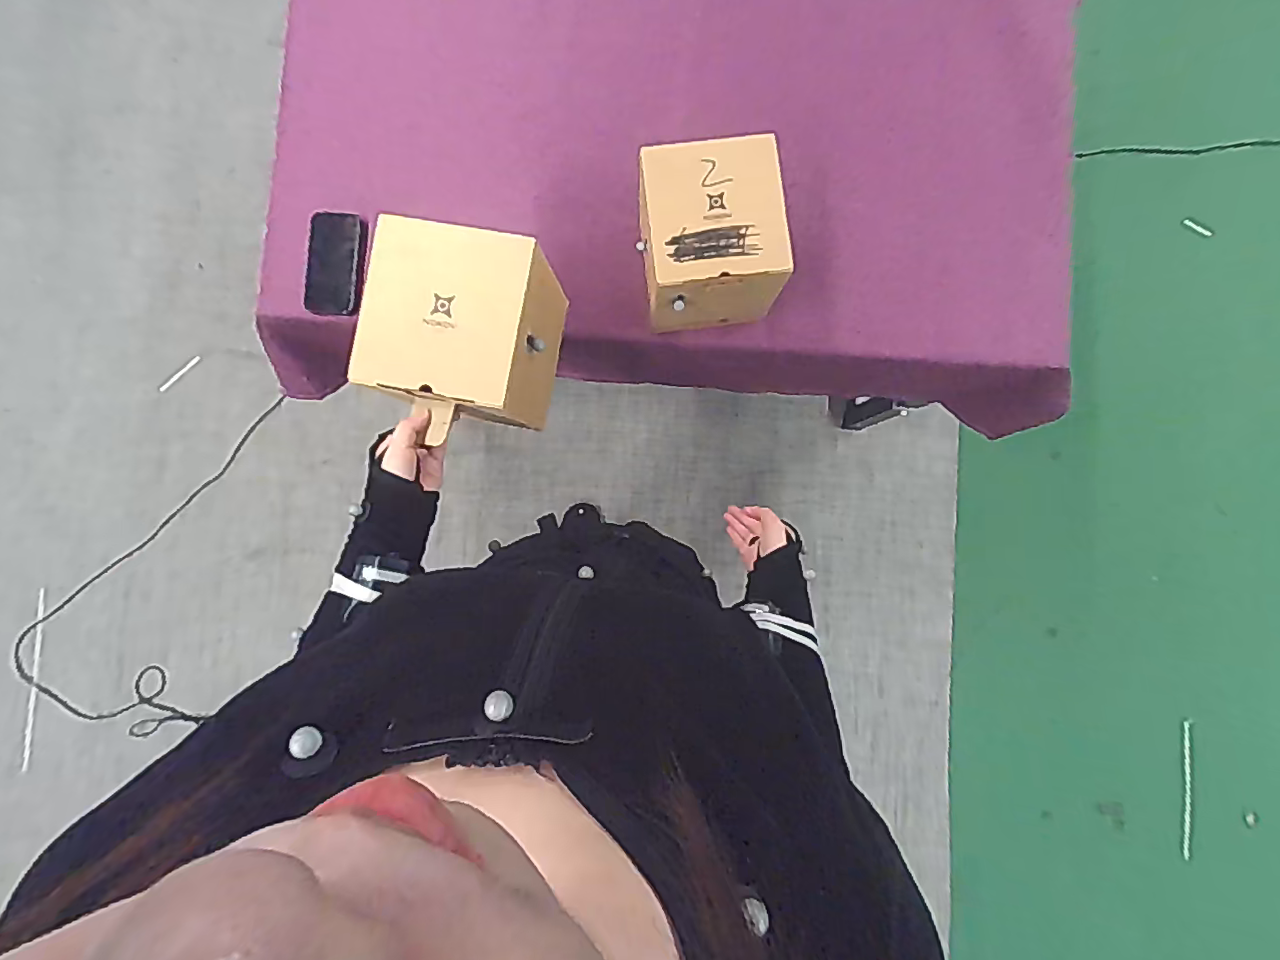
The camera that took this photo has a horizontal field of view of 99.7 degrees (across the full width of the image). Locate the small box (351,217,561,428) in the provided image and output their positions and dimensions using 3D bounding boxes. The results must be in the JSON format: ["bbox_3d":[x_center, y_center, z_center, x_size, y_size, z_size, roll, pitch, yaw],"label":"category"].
[{"bbox_3d":[-0.196,-0.168,0.628,0.168,0.176,0.179,11,89,3],"label":"small box"}]
